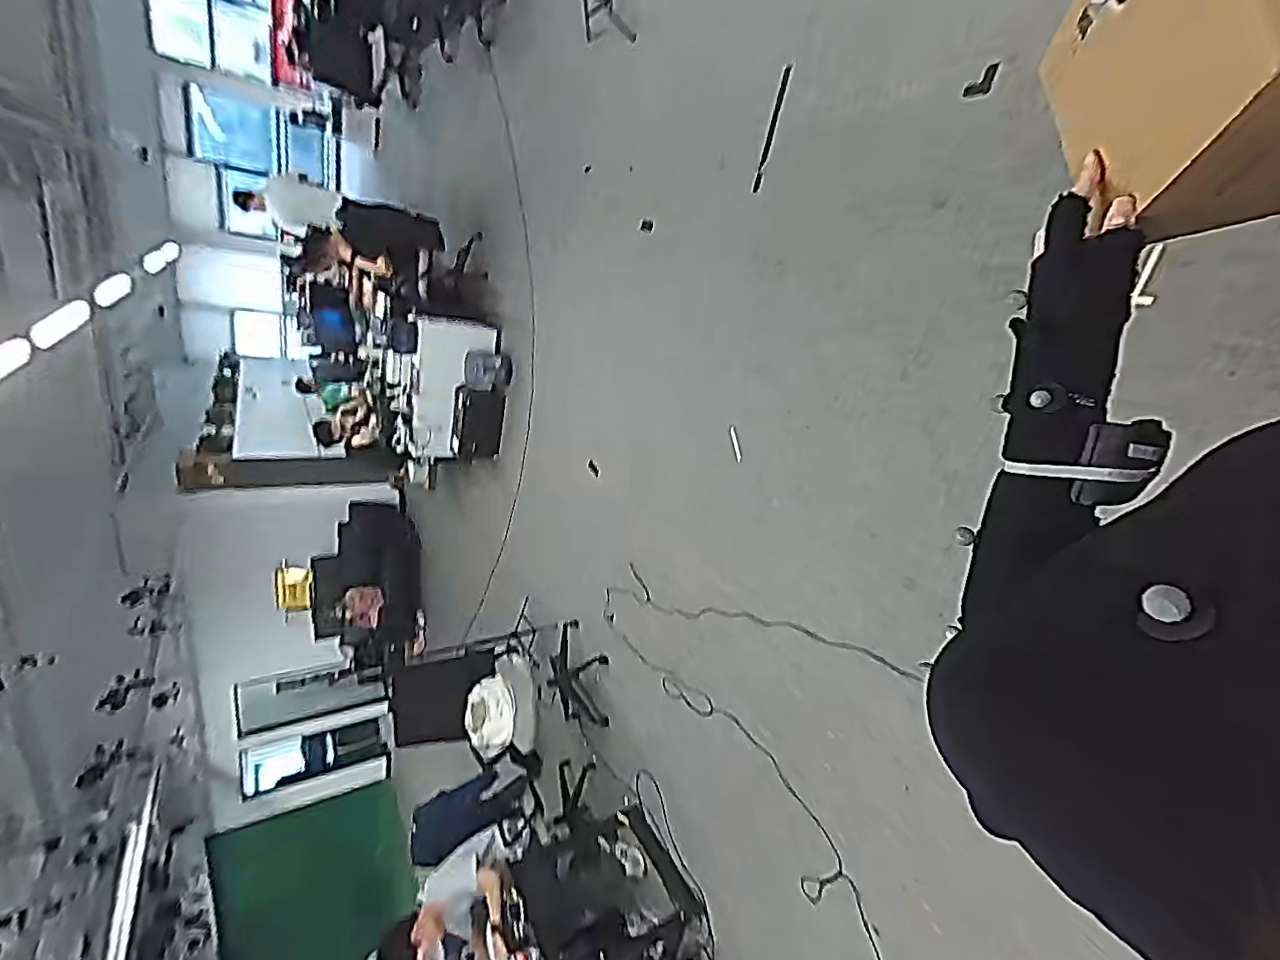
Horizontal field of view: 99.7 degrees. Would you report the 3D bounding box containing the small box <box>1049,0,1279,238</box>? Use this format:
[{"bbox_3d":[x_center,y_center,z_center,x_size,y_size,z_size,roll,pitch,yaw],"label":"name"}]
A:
[{"bbox_3d":[0.382,-0.278,0.308,0.179,0.168,0.176,-9,81,15],"label":"small box"}]
